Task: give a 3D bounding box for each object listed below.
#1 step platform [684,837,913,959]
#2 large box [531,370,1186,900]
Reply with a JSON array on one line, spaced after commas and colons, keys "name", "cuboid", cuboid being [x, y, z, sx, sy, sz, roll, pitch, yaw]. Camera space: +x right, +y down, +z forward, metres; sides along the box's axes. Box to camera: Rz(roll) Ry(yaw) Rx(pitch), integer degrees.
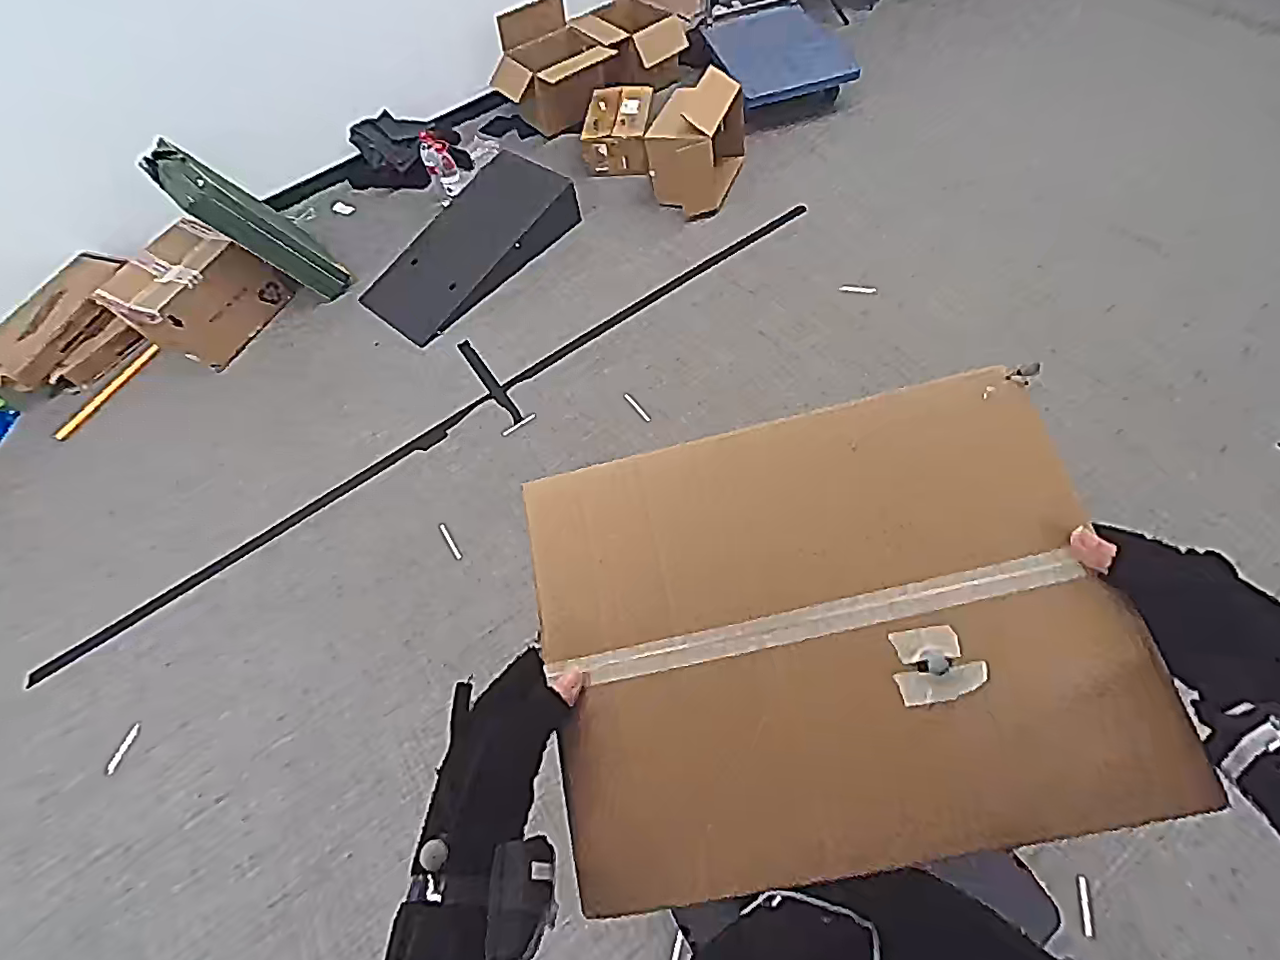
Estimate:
[{"name": "step platform", "cuboid": [0.409, 0.766, 1.245, 0.684, 0.204, 0.286, -35, 62, -13]}, {"name": "large box", "cuboid": [0.149, 0.144, 0.546, 0.408, 0.320, 0.320, -14, 72, 5]}]
